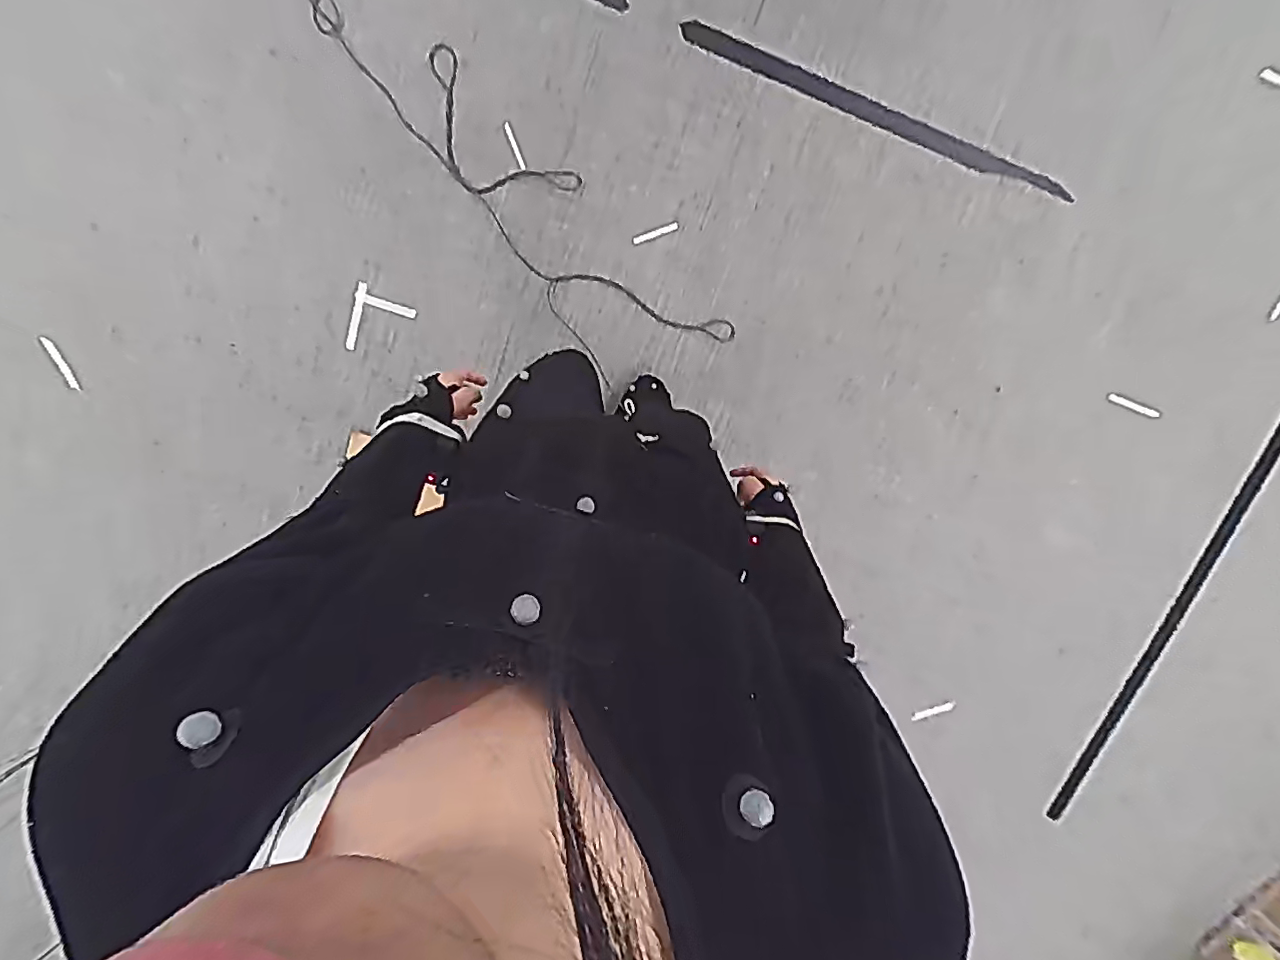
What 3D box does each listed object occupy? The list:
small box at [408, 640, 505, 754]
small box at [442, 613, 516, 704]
[{"bbox_3d":[-0.441,0.523,1.320,0.168,0.176,0.179,15,101,-5],"label":"small box"},{"bbox_3d":[-0.447,0.487,1.481,0.168,0.176,0.179,13,100,-3],"label":"small box"}]
